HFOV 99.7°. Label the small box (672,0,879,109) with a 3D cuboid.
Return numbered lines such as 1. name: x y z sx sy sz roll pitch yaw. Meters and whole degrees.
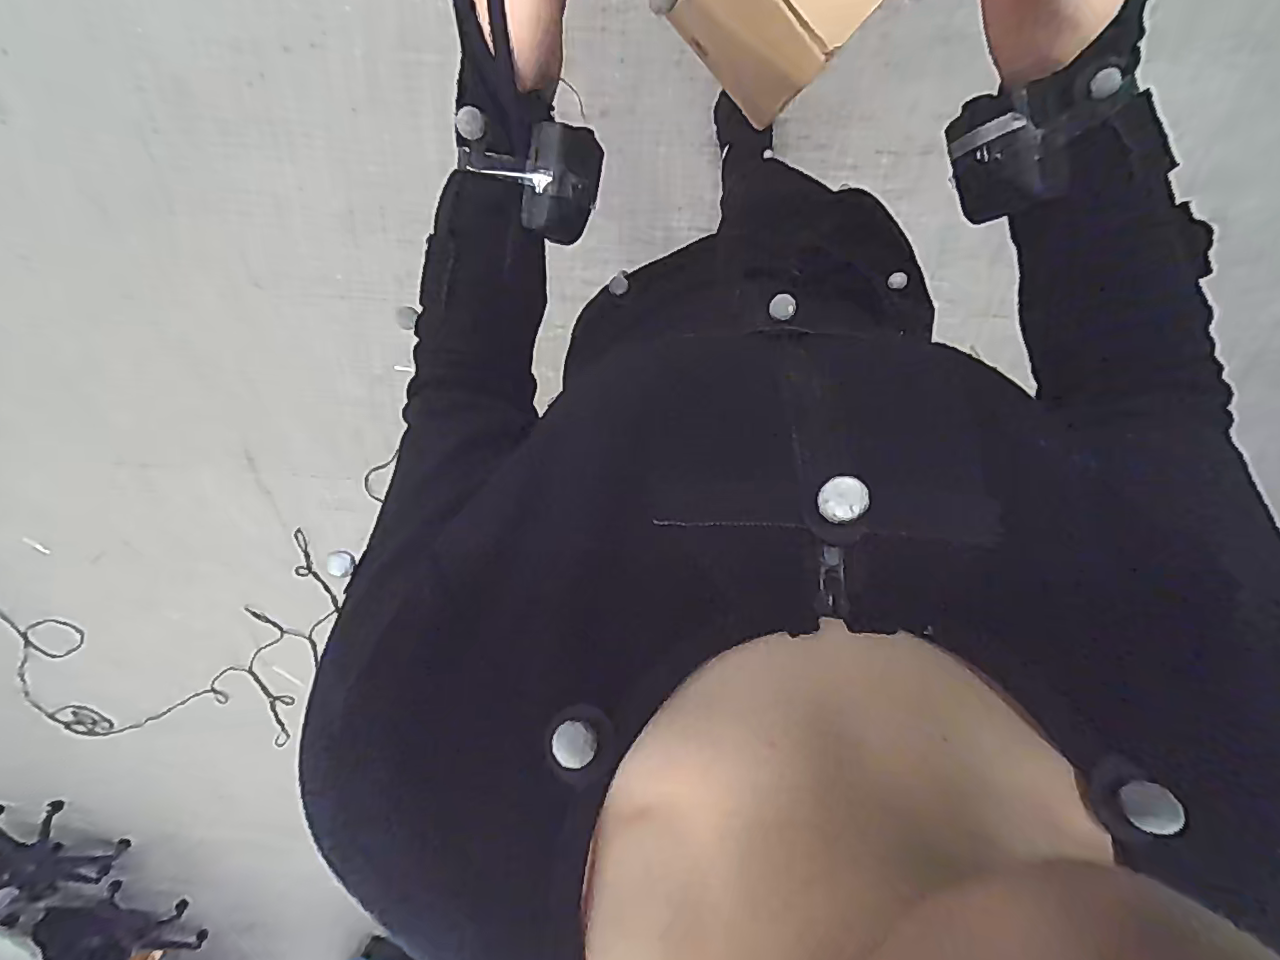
1. small box: 0.079 -0.313 0.244 0.168 0.176 0.179 41 111 -15
